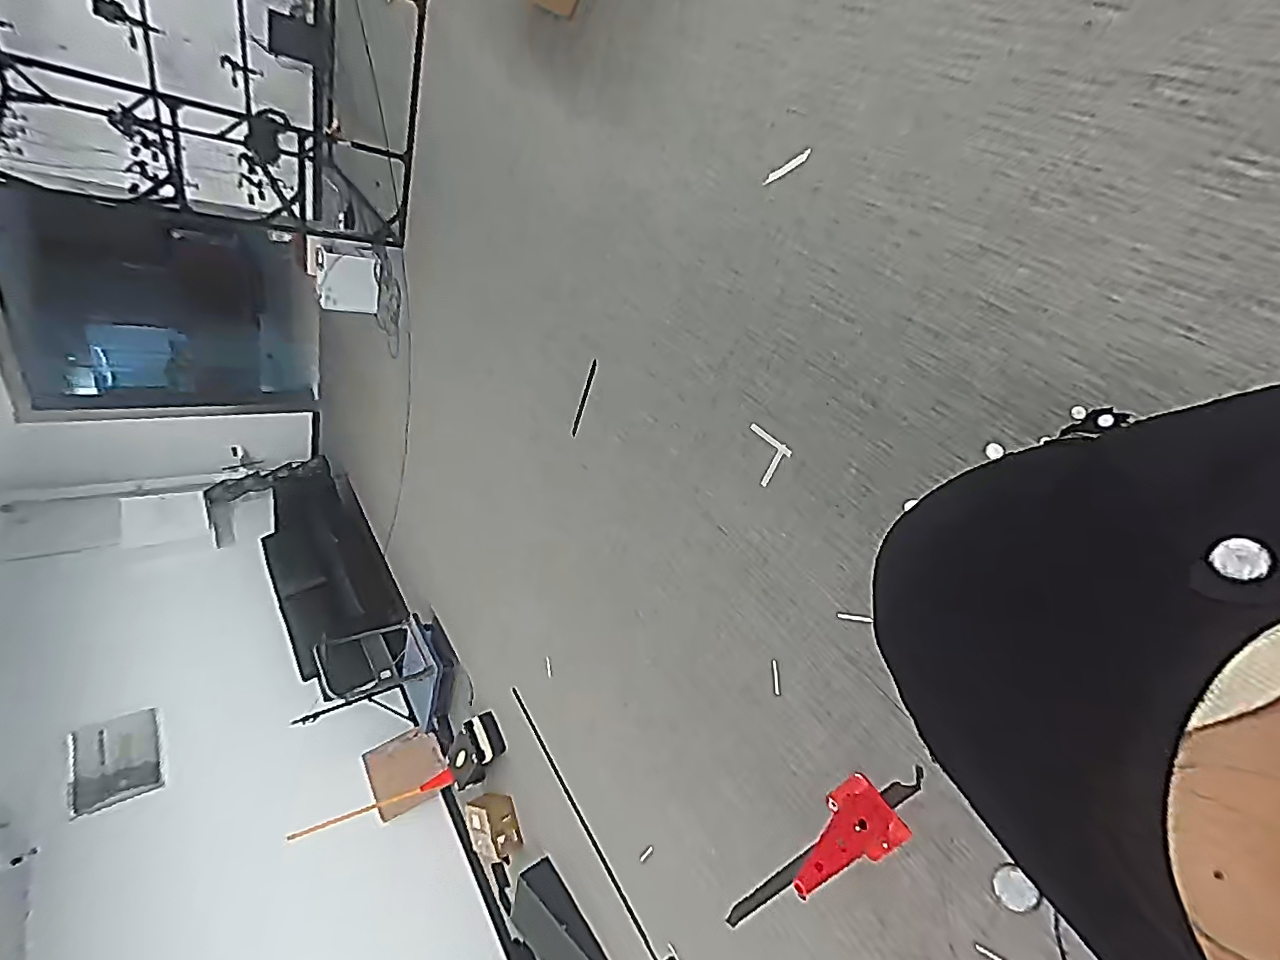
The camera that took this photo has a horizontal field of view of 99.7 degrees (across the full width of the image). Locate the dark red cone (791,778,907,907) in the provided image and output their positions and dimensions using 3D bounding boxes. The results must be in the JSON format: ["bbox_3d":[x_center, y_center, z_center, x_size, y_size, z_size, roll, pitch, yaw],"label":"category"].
[{"bbox_3d":[0.532,1.020,1.474,0.201,0.394,0.202,46,129,33],"label":"dark red cone"}]
